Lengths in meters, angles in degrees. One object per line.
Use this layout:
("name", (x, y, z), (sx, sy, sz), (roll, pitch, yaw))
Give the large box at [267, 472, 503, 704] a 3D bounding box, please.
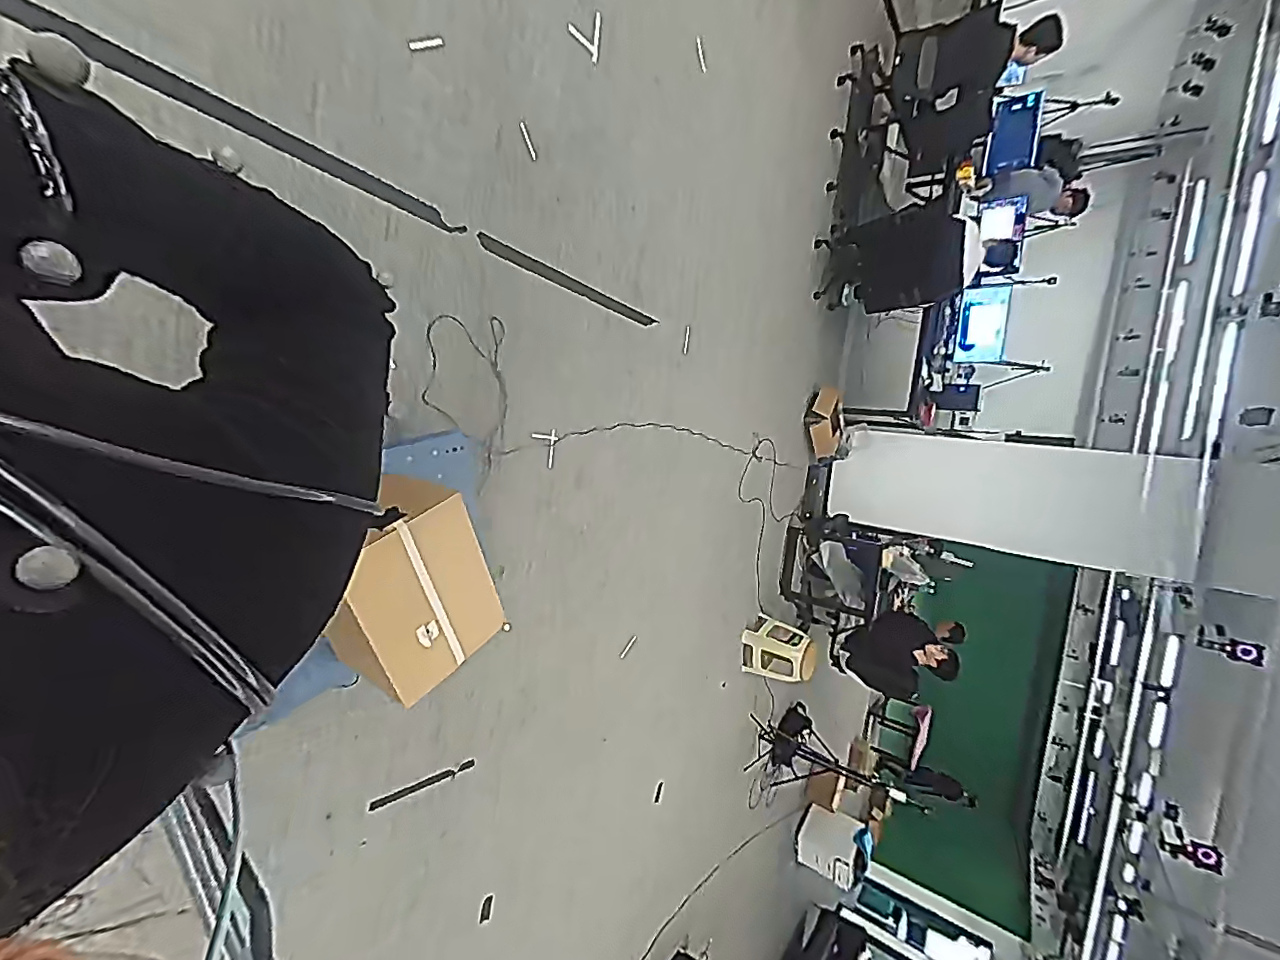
("large box", (-0.597, 0.240, 1.305), (0.320, 0.320, 0.408), (-38, 128, -42))
